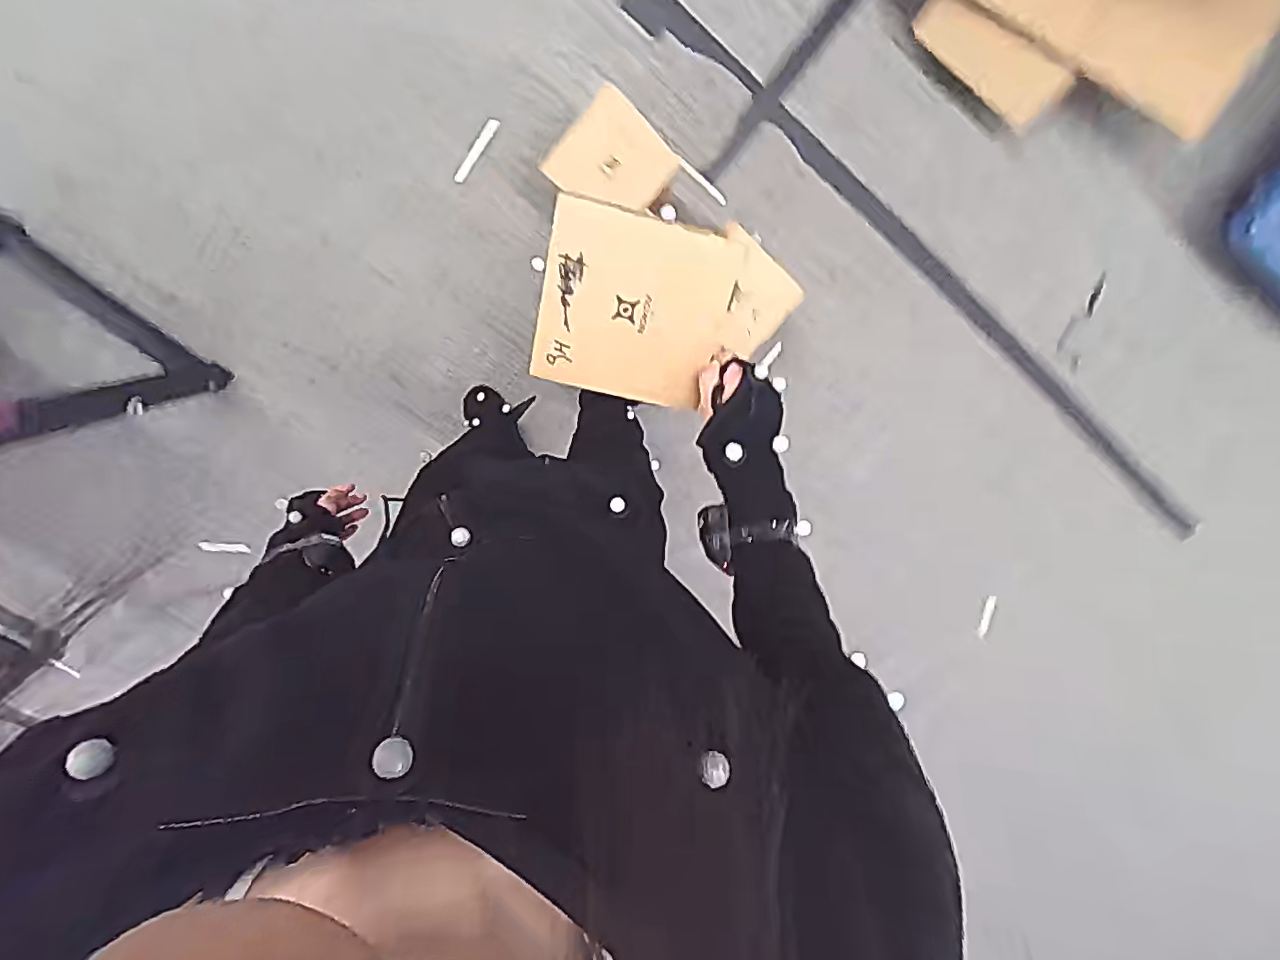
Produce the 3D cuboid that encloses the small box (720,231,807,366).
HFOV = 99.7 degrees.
[{"bbox_3d":[0.183,-0.347,1.041,0.179,0.176,0.168,40,106,-14],"label":"small box"}]

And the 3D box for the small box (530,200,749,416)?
[{"bbox_3d":[-0.011,-0.188,0.573,0.179,0.176,0.168,10,117,-11],"label":"small box"}]

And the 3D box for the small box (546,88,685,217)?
[{"bbox_3d":[-0.041,-0.541,0.971,0.168,0.176,0.179,42,104,-16],"label":"small box"}]
